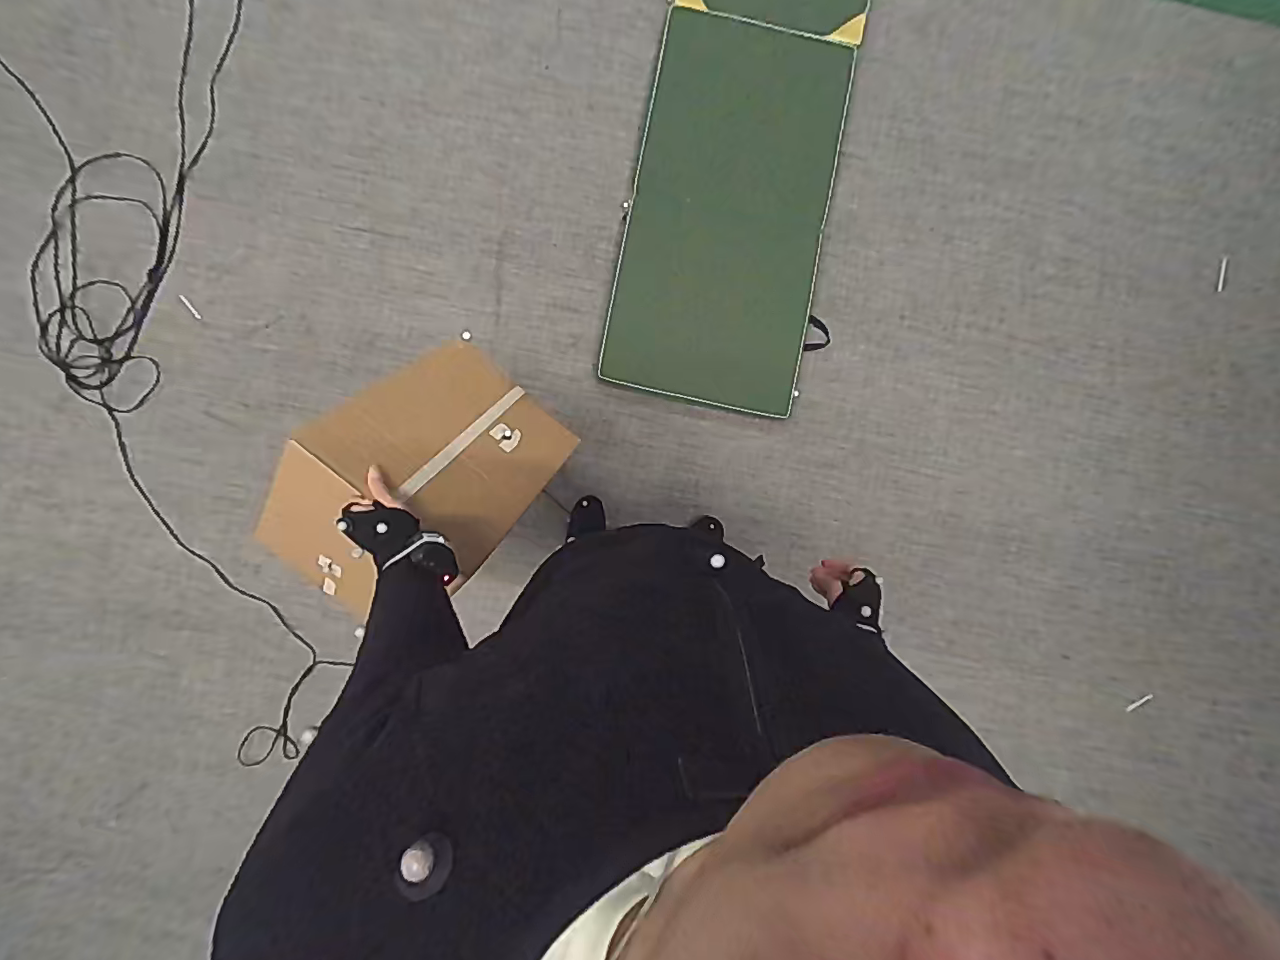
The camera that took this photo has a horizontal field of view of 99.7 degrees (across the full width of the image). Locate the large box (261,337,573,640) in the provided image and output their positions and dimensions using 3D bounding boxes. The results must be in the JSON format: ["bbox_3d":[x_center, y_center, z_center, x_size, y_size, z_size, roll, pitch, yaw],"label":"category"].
[{"bbox_3d":[-0.393,0.010,1.005,0.320,0.408,0.320,42,128,-10],"label":"large box"}]
